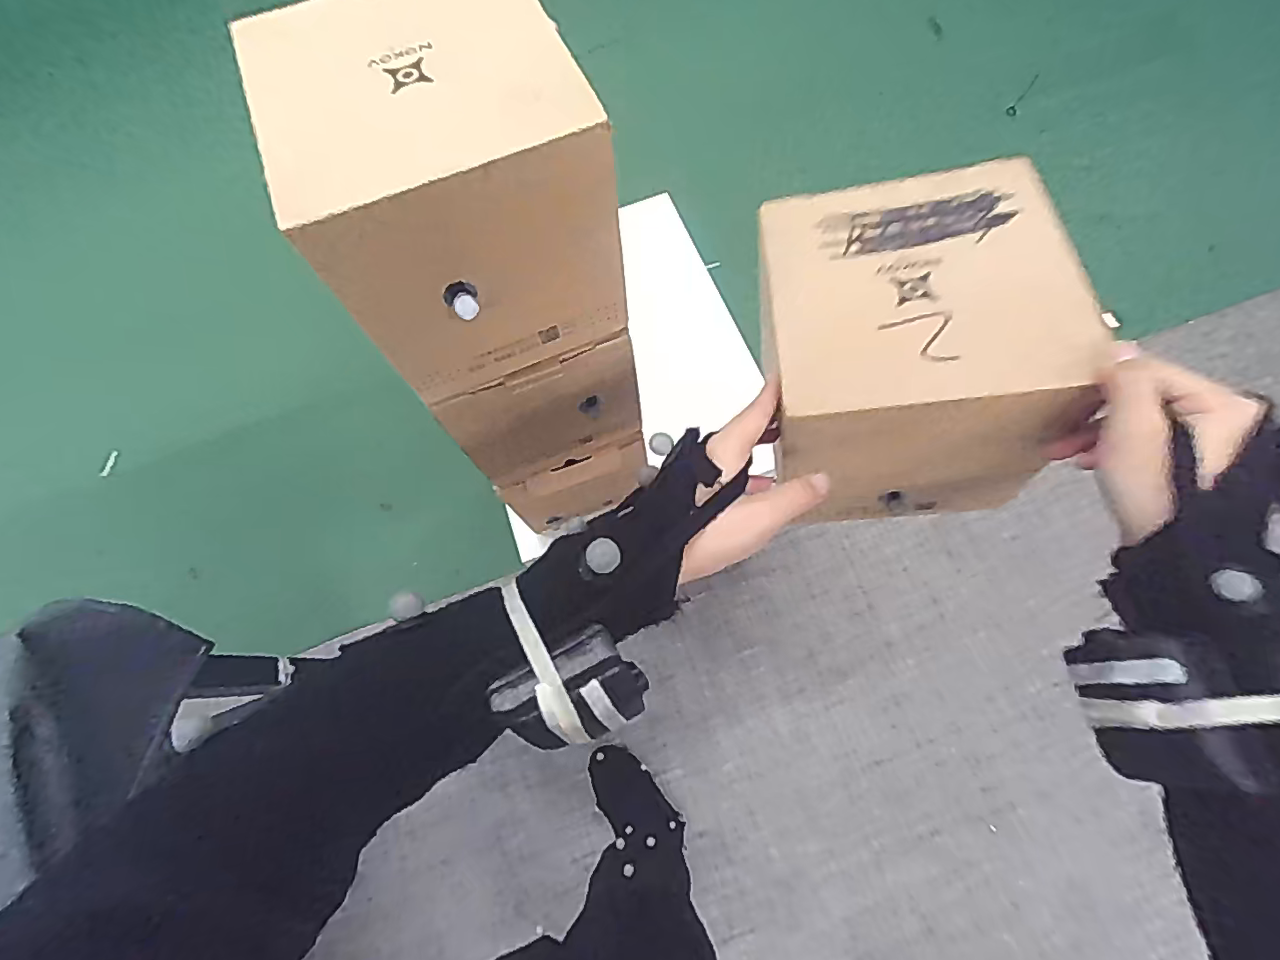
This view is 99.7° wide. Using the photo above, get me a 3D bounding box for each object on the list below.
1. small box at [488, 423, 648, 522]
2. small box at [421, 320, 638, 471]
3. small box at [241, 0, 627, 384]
[{"bbox_3d":[-0.094,-0.061,0.659,0.168,0.176,0.179,-19,69,-4],"label":"small box"},{"bbox_3d":[-0.107,-0.125,0.511,0.168,0.176,0.179,-21,69,-6],"label":"small box"},{"bbox_3d":[-0.115,-0.186,0.360,0.168,0.176,0.179,-22,69,-6],"label":"small box"}]
